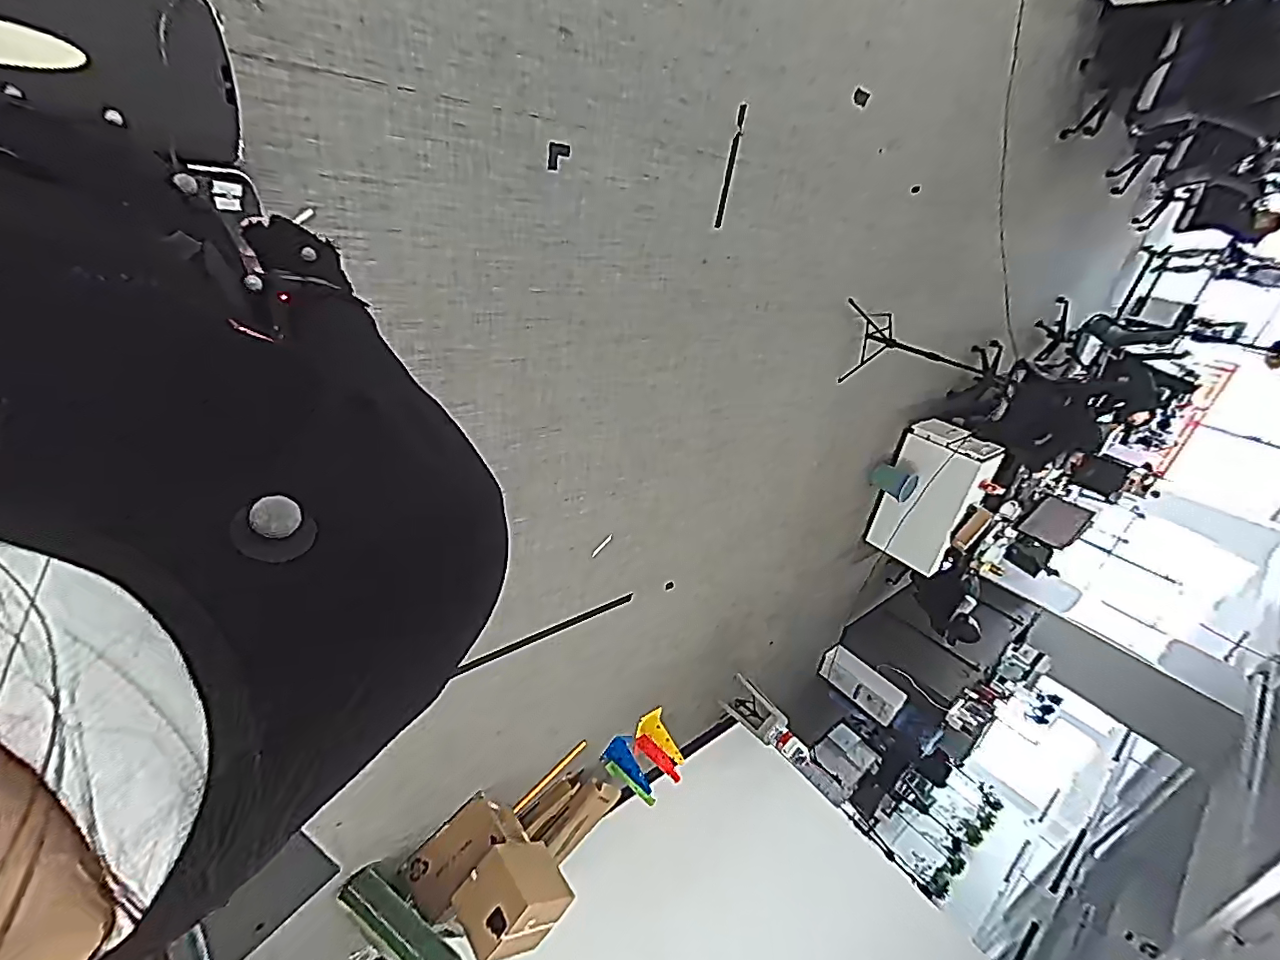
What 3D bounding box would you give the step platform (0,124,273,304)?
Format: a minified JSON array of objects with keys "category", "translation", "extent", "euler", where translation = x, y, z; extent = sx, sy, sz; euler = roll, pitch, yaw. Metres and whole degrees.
[{"category":"step platform","translation":[-1.075,-0.476,0.974],"extent":[0.684,0.204,0.286],"euler":[-15,126,-36]}]
